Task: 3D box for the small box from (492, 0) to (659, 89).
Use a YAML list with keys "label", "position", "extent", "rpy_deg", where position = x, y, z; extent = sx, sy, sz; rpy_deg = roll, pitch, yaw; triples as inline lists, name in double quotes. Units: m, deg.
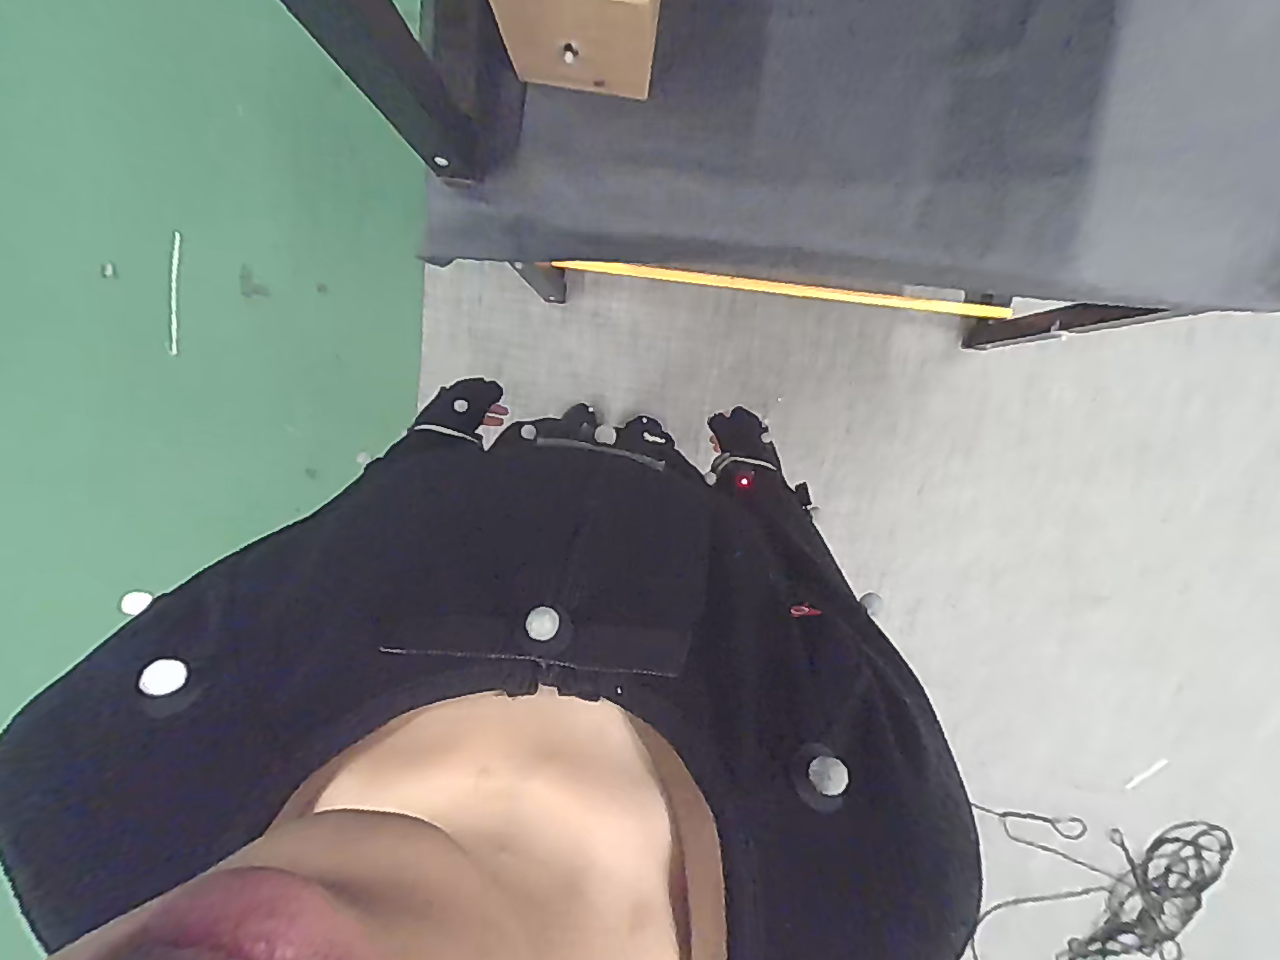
- label: "small box"
  position: [-0.060, -0.564, 0.577]
  extent: [0.168, 0.176, 0.179]
  rpy_deg: [9, 98, -2]
